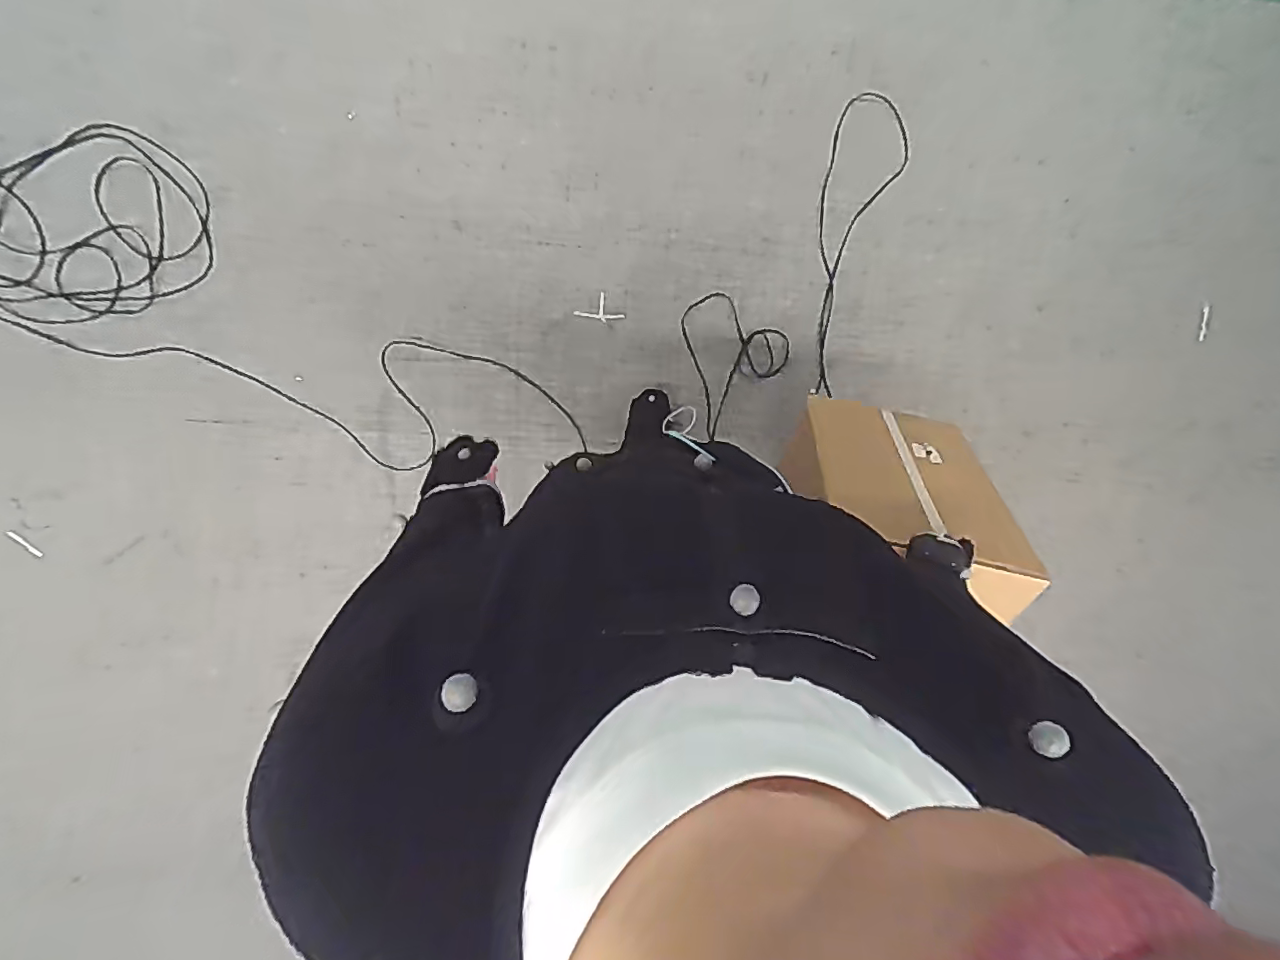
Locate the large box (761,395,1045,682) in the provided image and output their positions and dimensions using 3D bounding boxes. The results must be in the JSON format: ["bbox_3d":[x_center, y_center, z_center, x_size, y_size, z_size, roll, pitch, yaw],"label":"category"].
[{"bbox_3d":[0.425,0.097,1.006,0.320,0.408,0.320,13,128,-1],"label":"large box"}]
